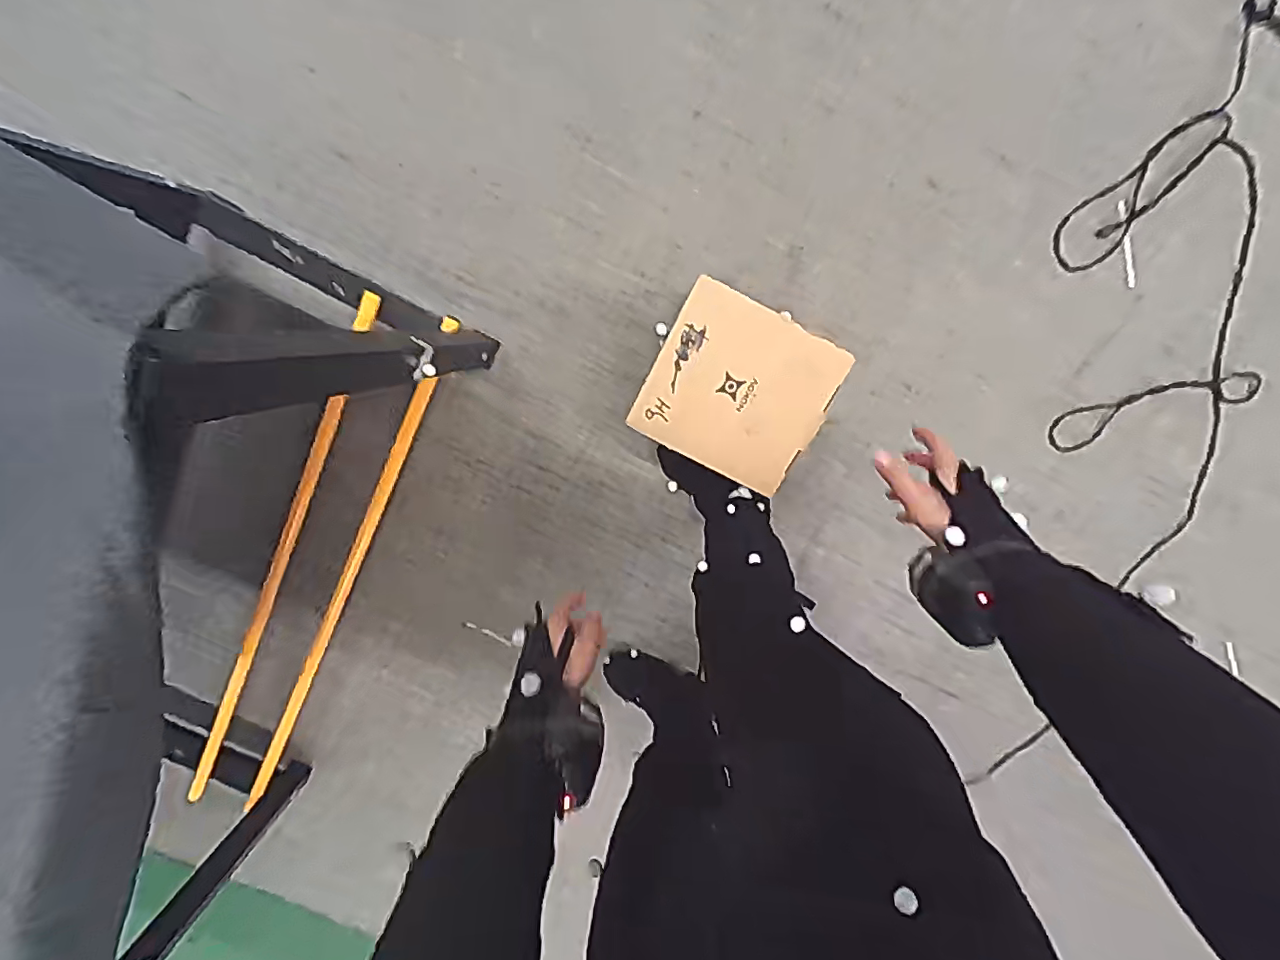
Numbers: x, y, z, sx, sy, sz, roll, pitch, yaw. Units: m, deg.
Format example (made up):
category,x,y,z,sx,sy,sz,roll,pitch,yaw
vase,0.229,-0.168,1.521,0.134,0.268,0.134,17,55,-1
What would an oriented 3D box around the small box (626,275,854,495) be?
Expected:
category,x,y,z,sx,sy,sz,roll,pitch,yaw
small box,0.100,-0.111,0.616,0.179,0.176,0.168,27,103,-6
